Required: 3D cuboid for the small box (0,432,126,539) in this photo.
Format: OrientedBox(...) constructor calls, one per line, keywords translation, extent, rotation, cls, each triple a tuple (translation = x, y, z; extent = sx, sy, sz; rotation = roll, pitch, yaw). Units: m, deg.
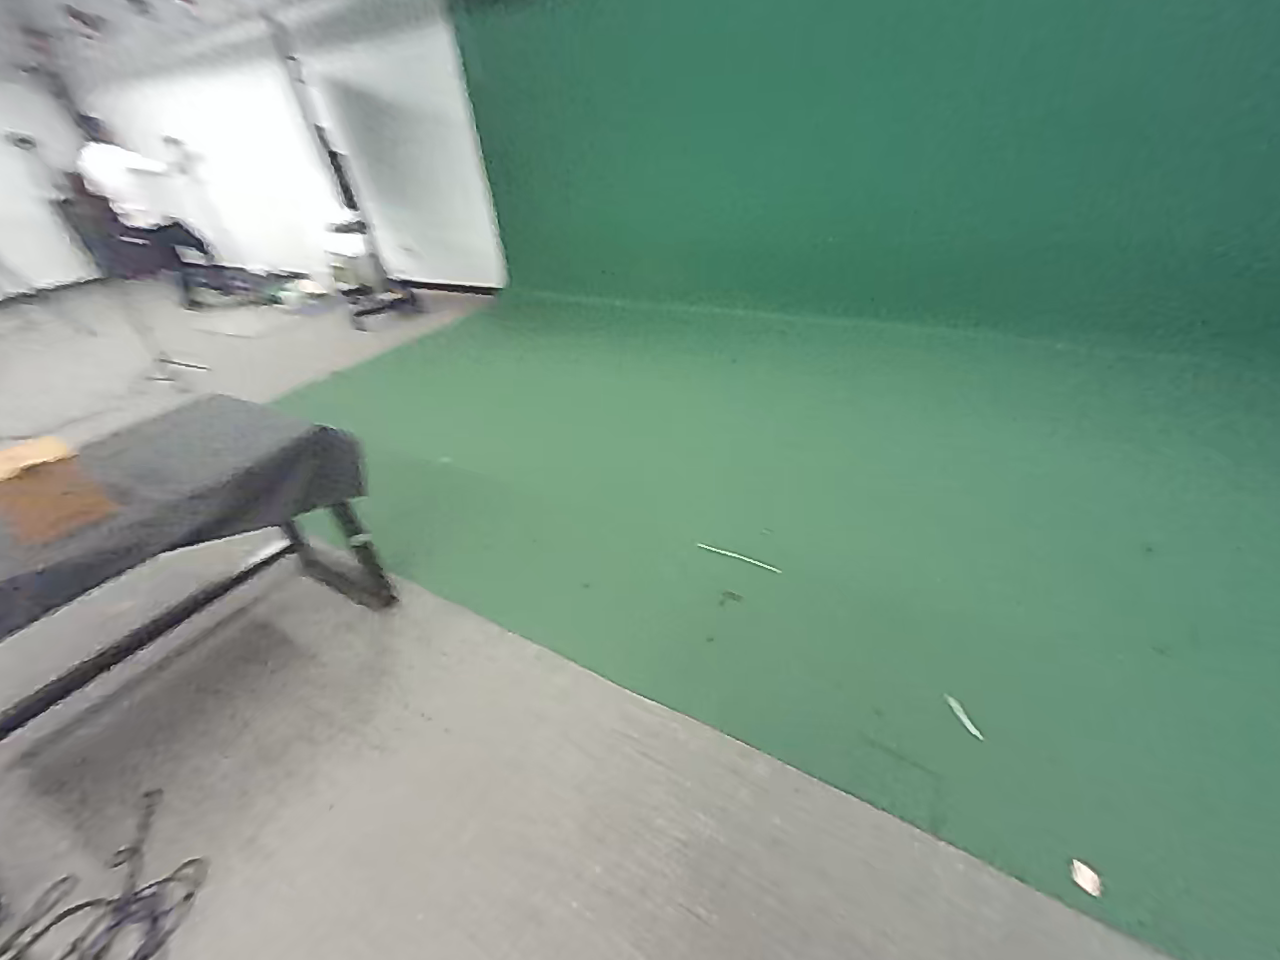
OrientedBox(translation=(-1.349, 0.014, 1.248), extent=(0.179, 0.176, 0.168), rotation=(17, 40, 32), cls="small box")
